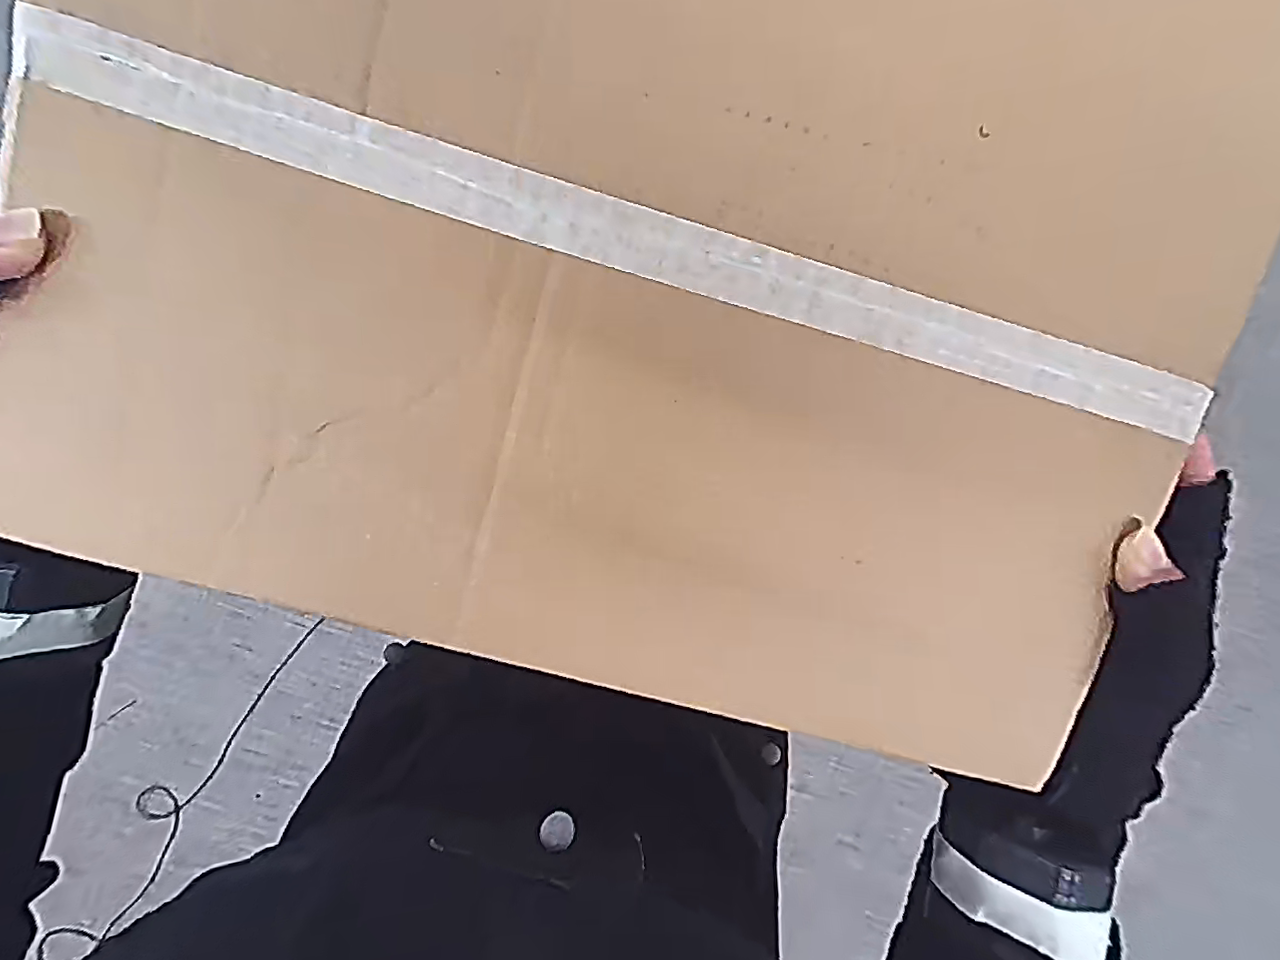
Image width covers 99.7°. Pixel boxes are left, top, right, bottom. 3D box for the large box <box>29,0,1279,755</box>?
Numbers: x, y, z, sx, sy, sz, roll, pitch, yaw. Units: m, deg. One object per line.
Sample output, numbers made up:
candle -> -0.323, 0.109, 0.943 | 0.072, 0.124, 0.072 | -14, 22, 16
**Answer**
large box -> 0.000, -0.098, 0.341 | 0.408, 0.320, 0.320 | 16, 97, -5
